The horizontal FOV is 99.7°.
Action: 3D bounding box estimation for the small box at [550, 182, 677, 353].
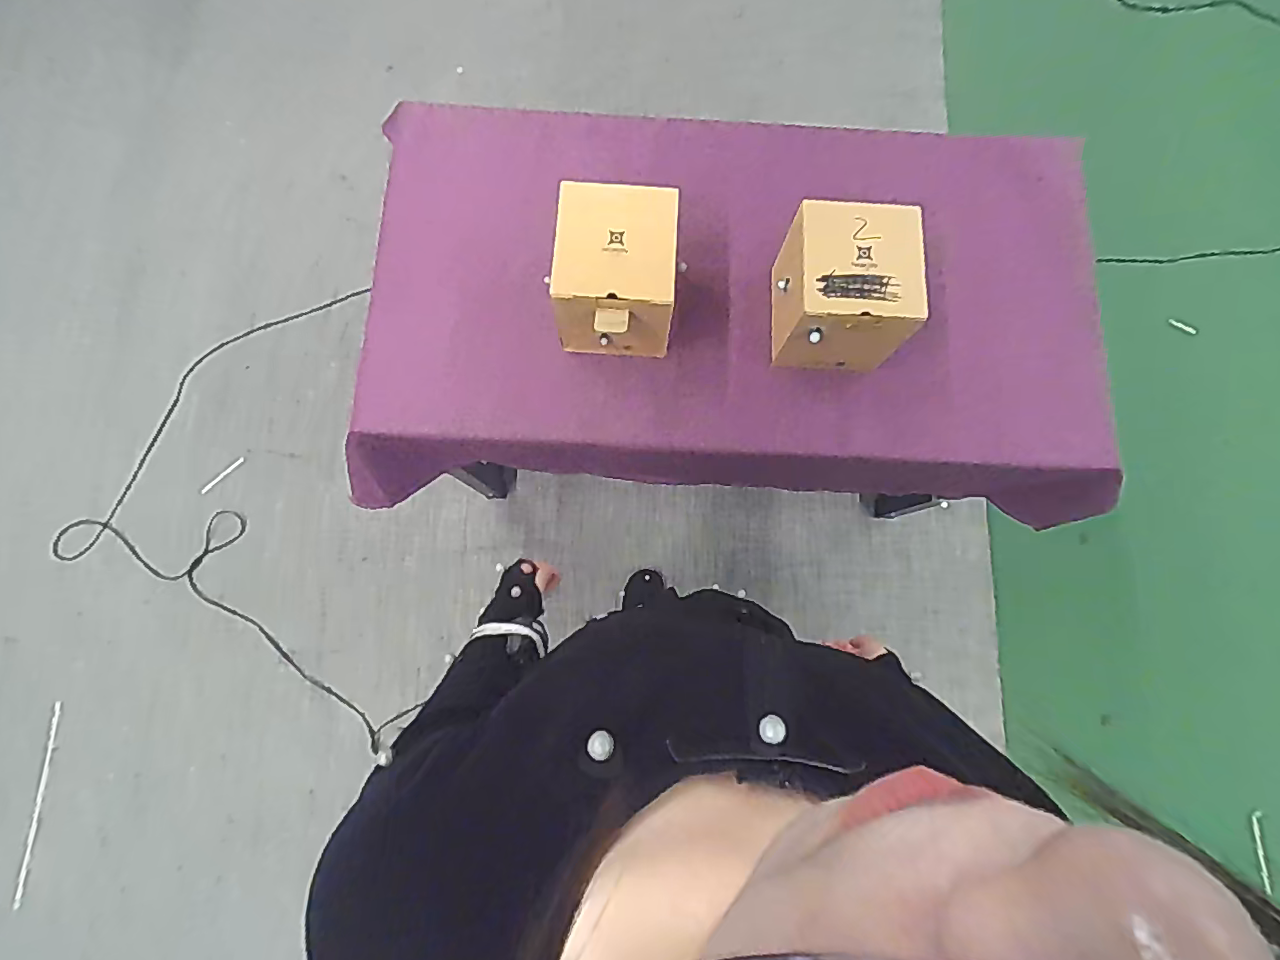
[{"bbox_3d":[-0.038,-0.312,0.819,0.168,0.176,0.179,3,79,-1],"label":"small box"}]
